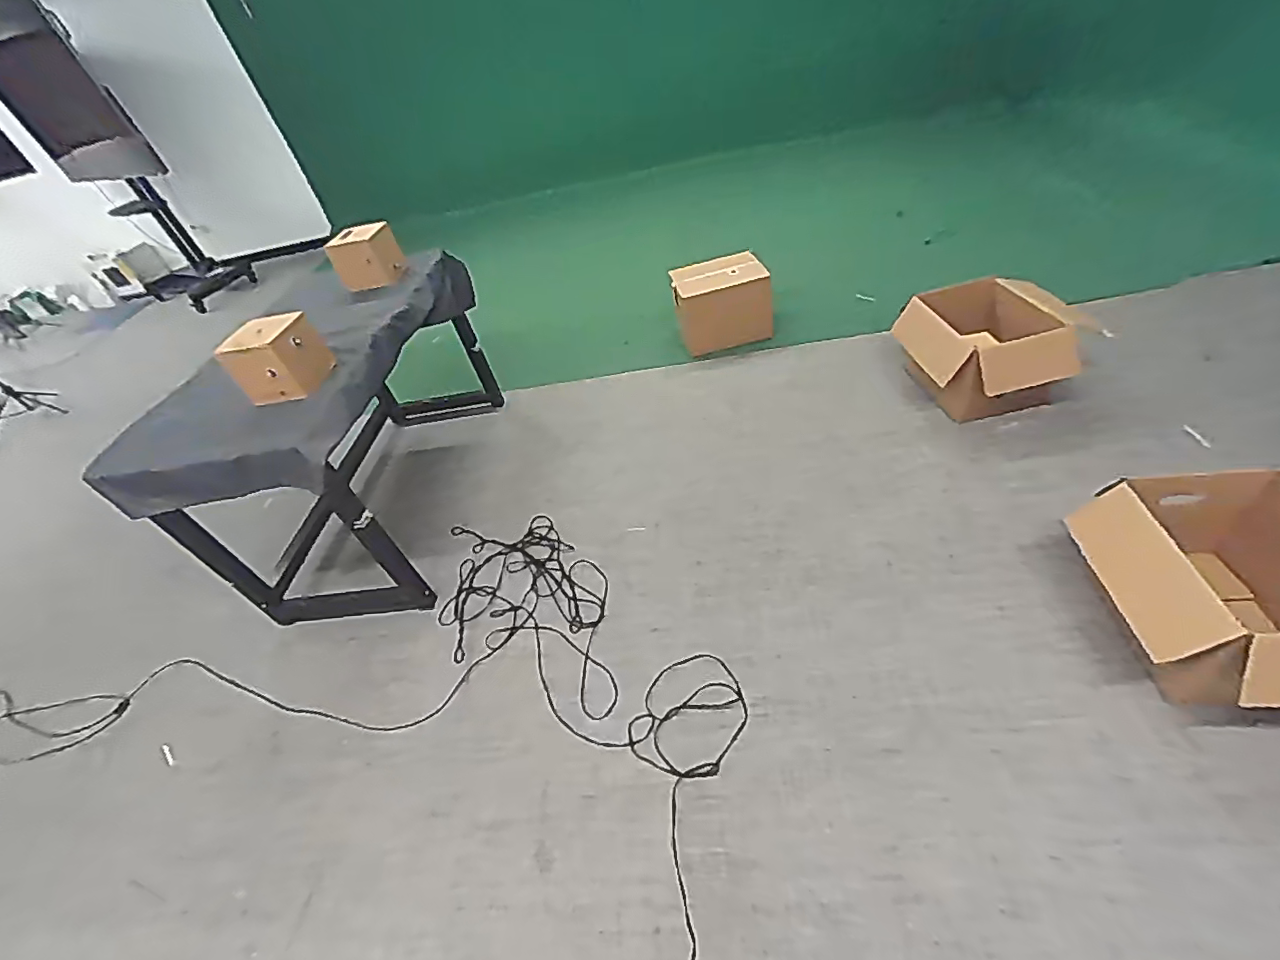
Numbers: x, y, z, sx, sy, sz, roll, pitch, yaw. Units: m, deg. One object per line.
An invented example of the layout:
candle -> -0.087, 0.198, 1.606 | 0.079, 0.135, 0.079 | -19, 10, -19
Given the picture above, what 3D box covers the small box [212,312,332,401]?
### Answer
small box -> -0.971, -0.324, 1.449 | 0.168, 0.176, 0.179 | -5, 42, 9
